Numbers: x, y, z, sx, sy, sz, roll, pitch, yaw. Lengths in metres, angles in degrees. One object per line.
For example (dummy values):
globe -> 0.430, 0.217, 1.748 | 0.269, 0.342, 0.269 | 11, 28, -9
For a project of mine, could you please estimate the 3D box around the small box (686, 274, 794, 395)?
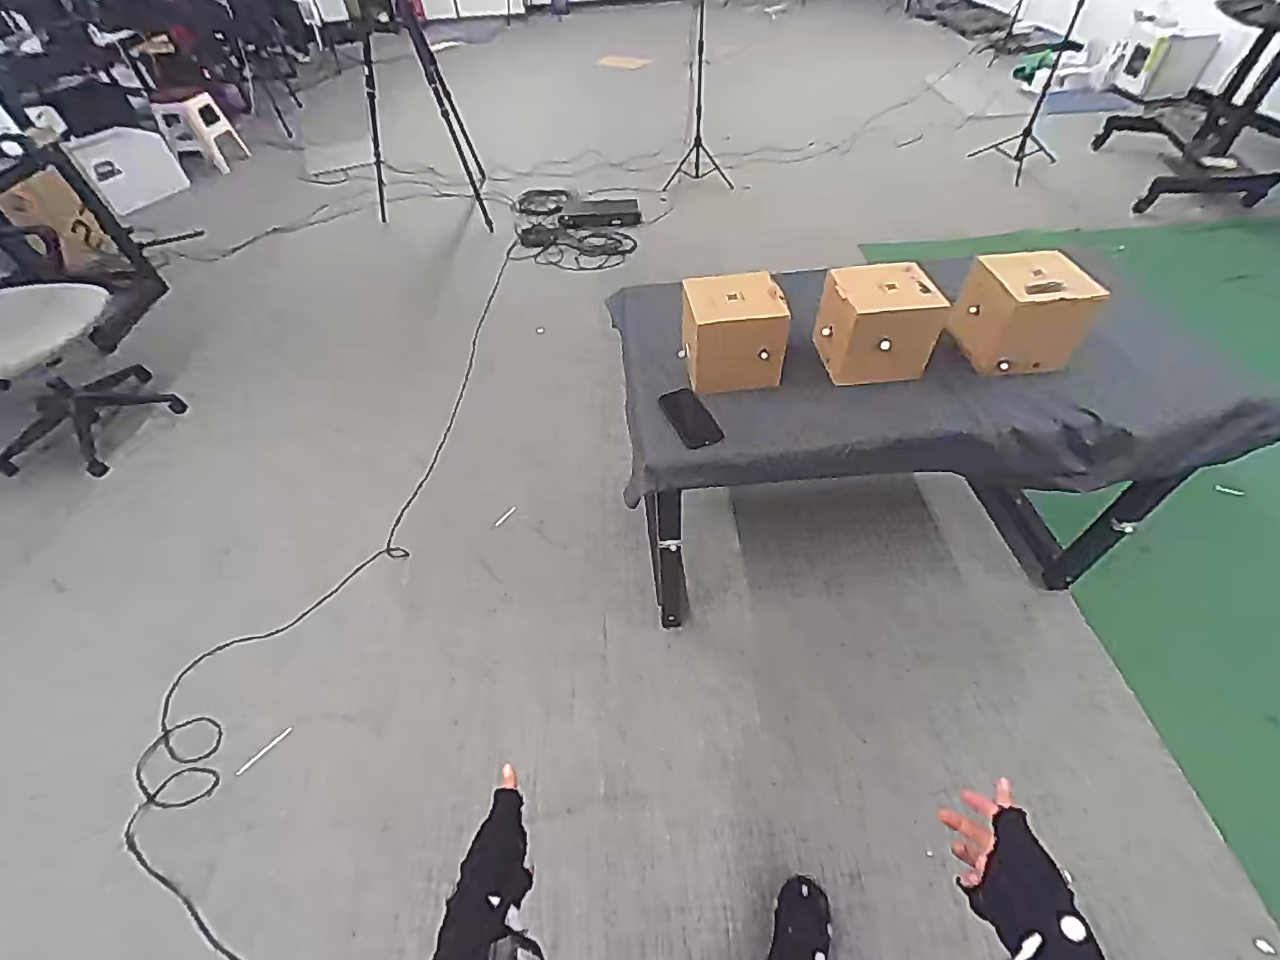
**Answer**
small box -> 0.192, -0.291, 1.093 | 0.179, 0.176, 0.168 | -7, 48, -2

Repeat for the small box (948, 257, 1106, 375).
small box -> 0.761, -0.324, 1.088 | 0.168, 0.176, 0.179 | -3, 49, 0

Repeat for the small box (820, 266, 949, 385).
small box -> 0.475, -0.306, 1.088 | 0.179, 0.176, 0.168 | -5, 50, 0
